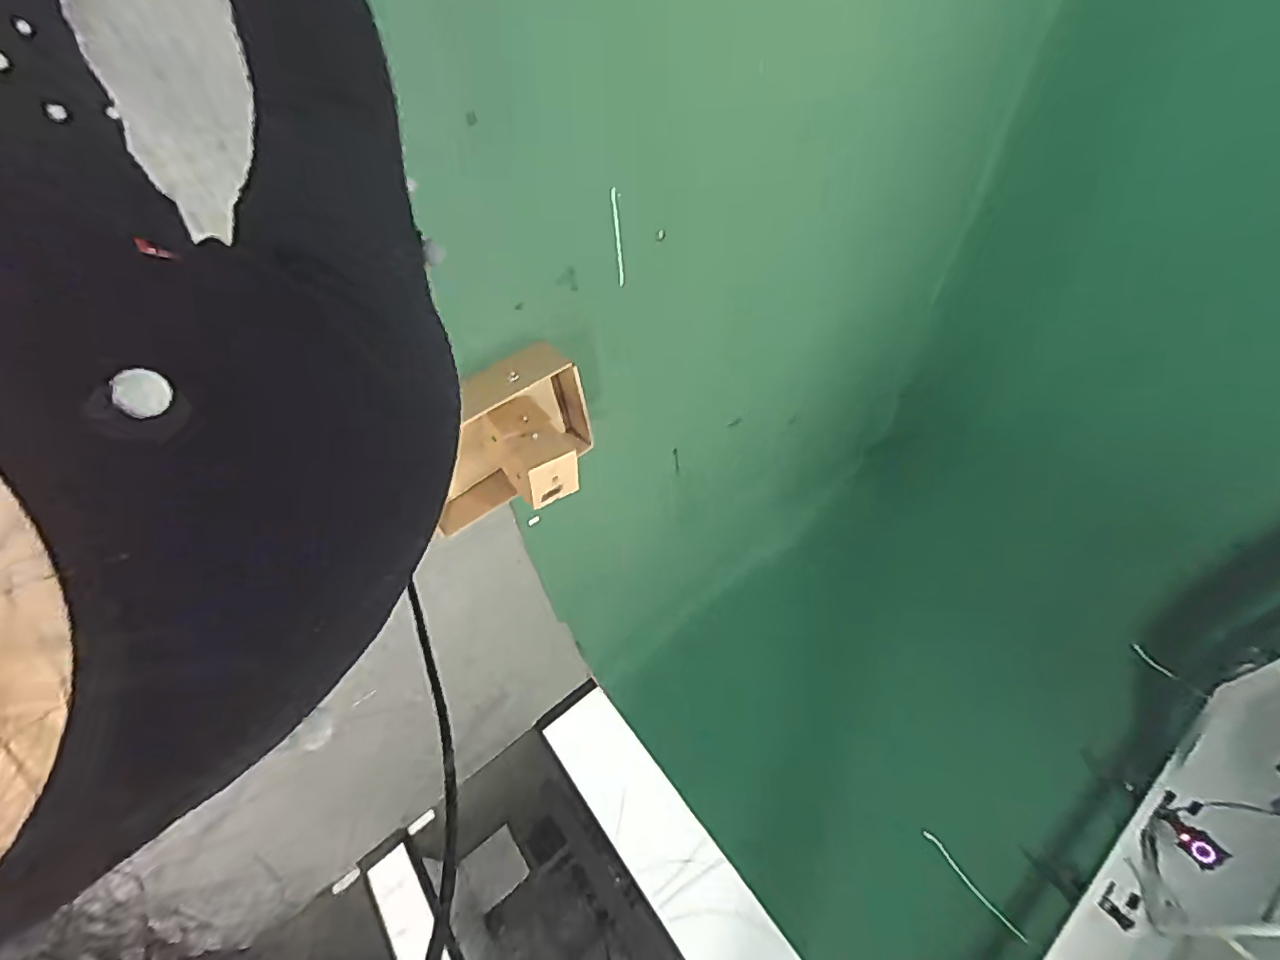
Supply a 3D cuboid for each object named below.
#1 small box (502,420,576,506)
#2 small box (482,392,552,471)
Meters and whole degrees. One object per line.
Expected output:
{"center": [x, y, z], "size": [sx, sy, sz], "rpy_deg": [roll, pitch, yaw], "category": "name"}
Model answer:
{"center": [-0.314, -0.058, 1.696], "size": [0.168, 0.176, 0.179], "rpy_deg": [-27, 143, -26], "category": "small box"}
{"center": [-0.407, -0.164, 1.783], "size": [0.179, 0.176, 0.168], "rpy_deg": [-24, 143, -28], "category": "small box"}
